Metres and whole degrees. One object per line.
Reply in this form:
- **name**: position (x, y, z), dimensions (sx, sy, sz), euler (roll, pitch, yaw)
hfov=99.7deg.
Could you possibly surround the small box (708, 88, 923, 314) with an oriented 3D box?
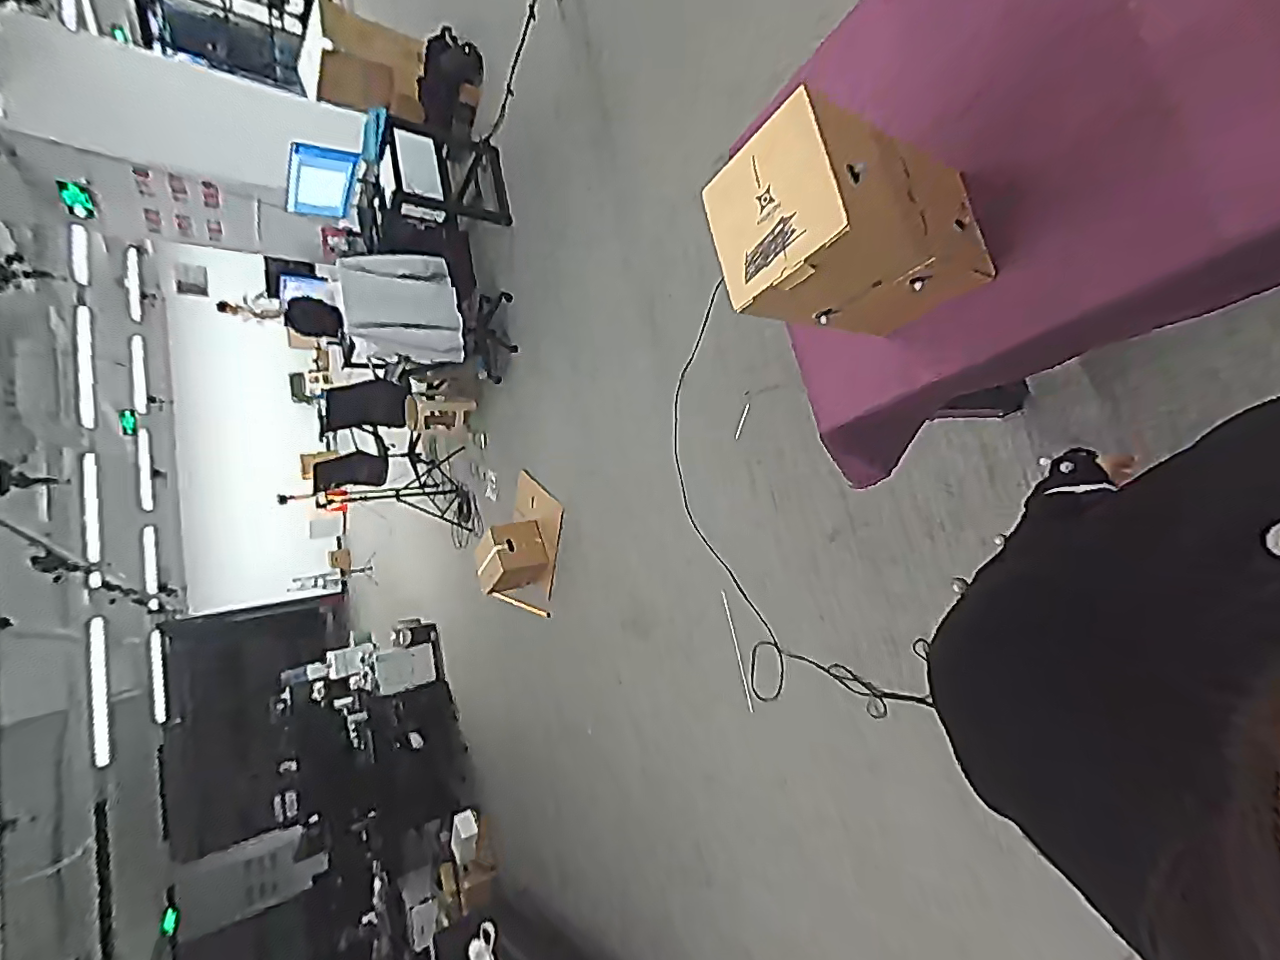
- **small box**: position (0.216, -0.322, 0.669), dimensions (0.168, 0.176, 0.179), euler (-27, 71, 52)

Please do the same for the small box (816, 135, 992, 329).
- **small box**: position (0.351, -0.329, 0.763), dimensions (0.179, 0.176, 0.168), euler (-26, 73, 52)
